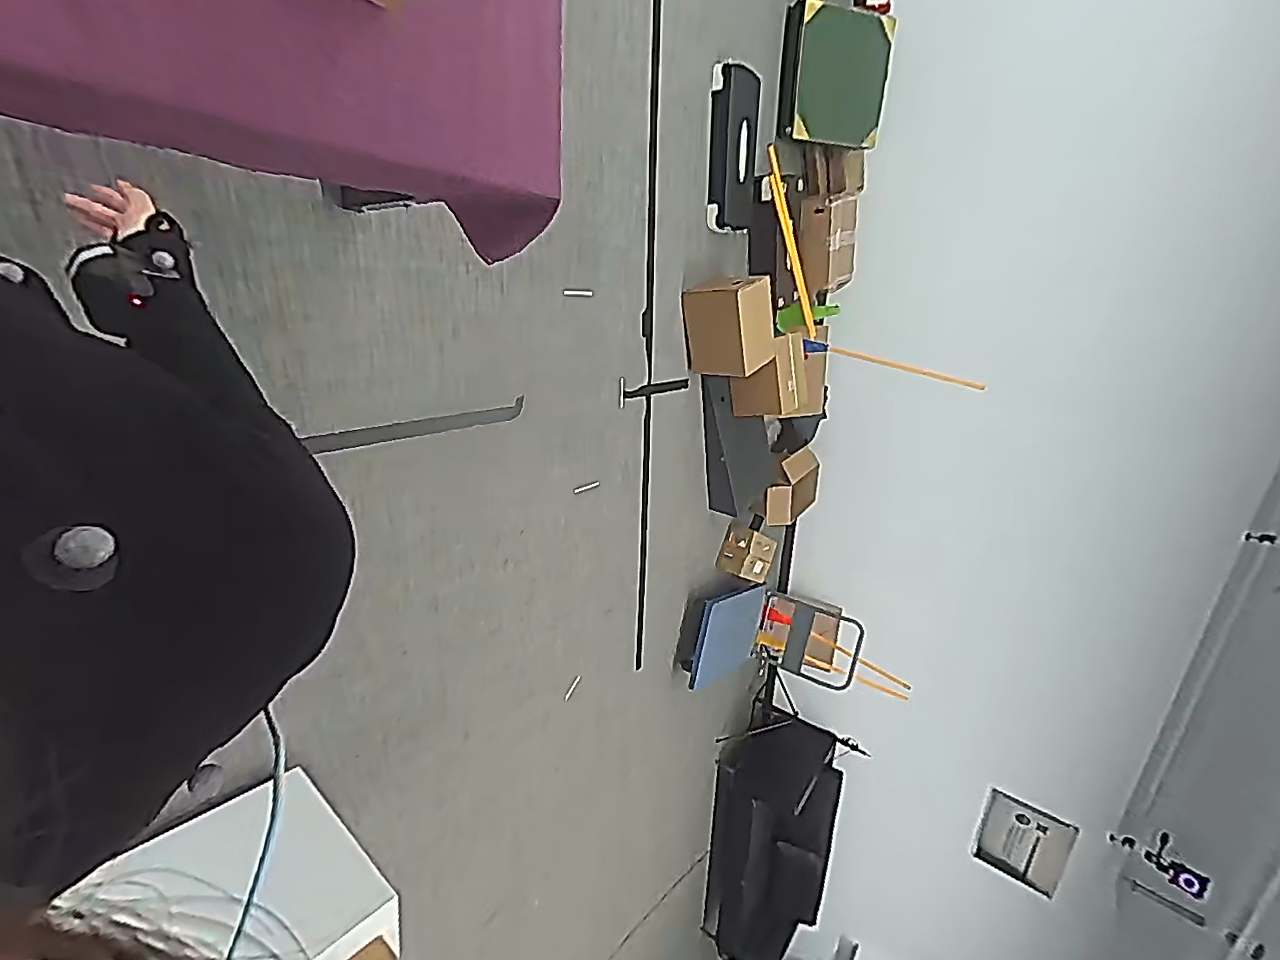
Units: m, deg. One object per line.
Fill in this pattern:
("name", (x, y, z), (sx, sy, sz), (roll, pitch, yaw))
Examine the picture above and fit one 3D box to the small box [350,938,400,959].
("small box", (-0.583, 1.146, 1.148), (0.168, 0.176, 0.179), (-13, 114, -51))
